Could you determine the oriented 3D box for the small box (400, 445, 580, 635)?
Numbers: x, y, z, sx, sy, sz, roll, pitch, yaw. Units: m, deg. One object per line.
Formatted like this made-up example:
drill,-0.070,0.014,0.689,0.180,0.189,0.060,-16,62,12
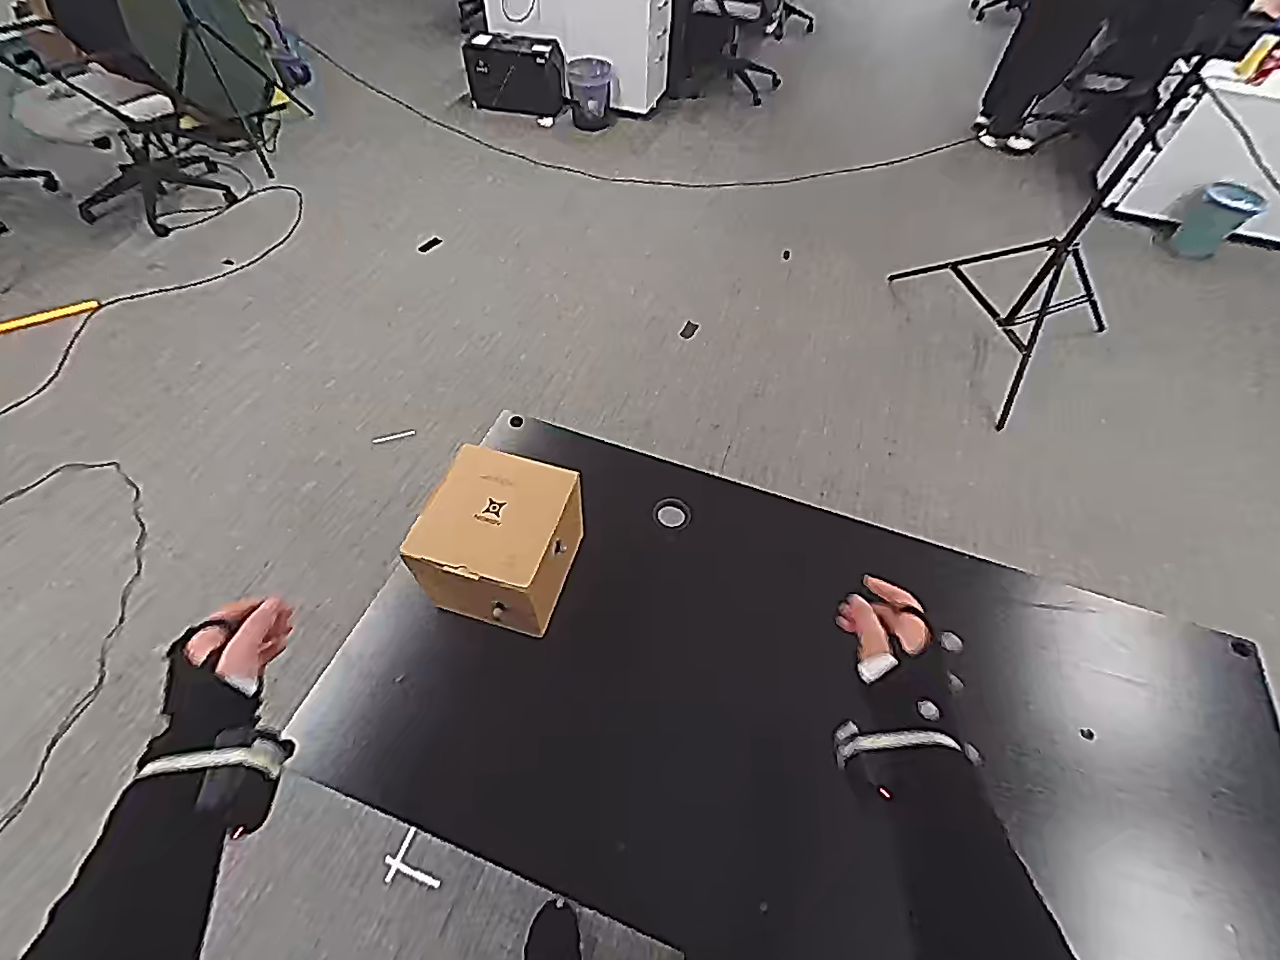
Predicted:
small box,-0.182,0.087,0.728,0.168,0.176,0.179,15,55,6
